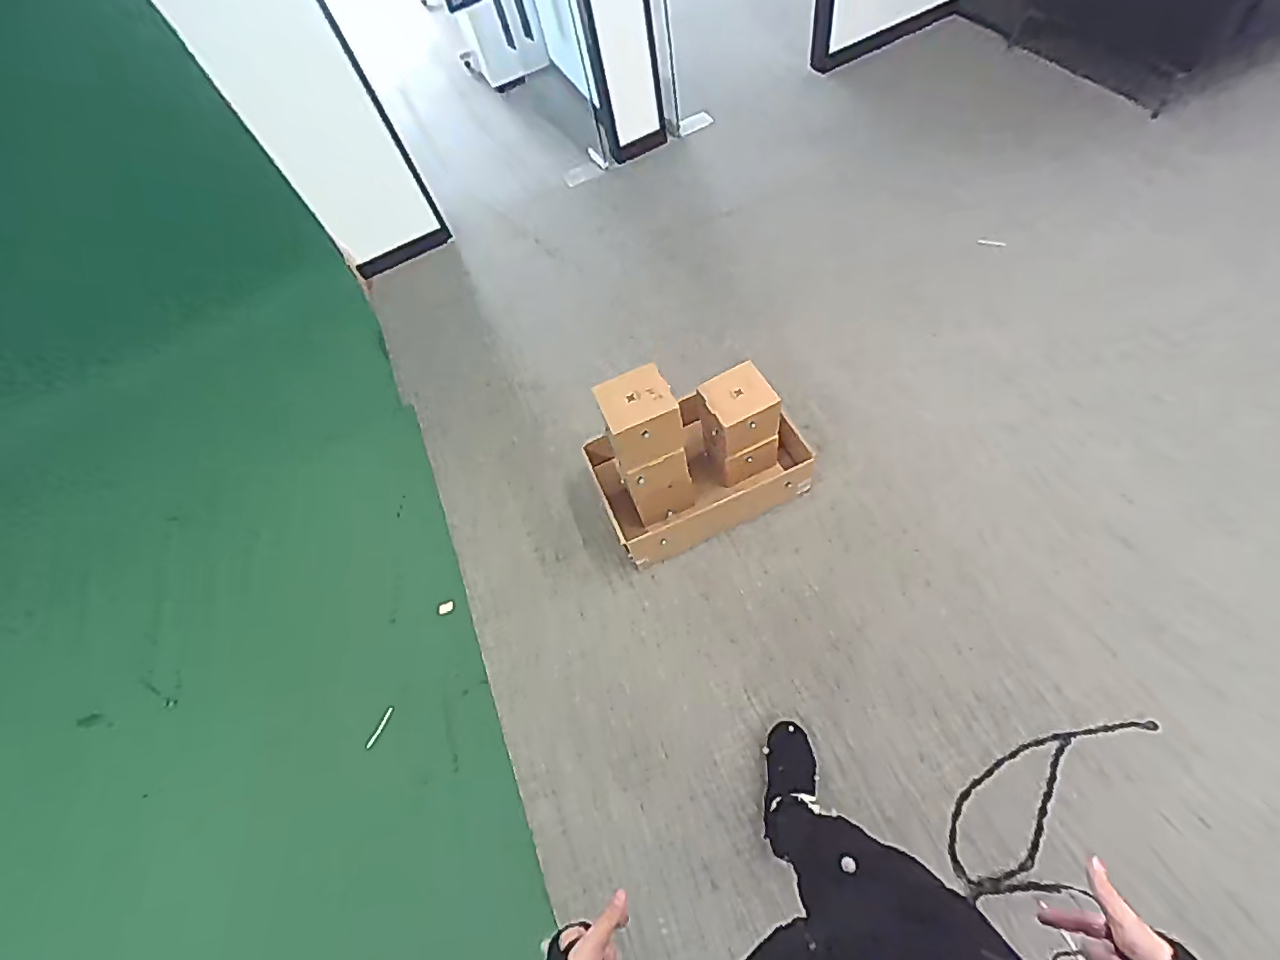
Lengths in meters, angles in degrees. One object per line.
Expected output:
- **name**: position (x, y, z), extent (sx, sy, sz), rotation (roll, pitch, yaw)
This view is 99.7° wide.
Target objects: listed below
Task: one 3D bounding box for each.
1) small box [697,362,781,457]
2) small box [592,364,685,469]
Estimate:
- **small box**: position (0.282, -0.194, 1.537), extent (0.179, 0.176, 0.168), rotation (-26, 60, -4)
- **small box**: position (0.001, -0.156, 1.378), extent (0.179, 0.176, 0.168), rotation (-24, 58, -3)
